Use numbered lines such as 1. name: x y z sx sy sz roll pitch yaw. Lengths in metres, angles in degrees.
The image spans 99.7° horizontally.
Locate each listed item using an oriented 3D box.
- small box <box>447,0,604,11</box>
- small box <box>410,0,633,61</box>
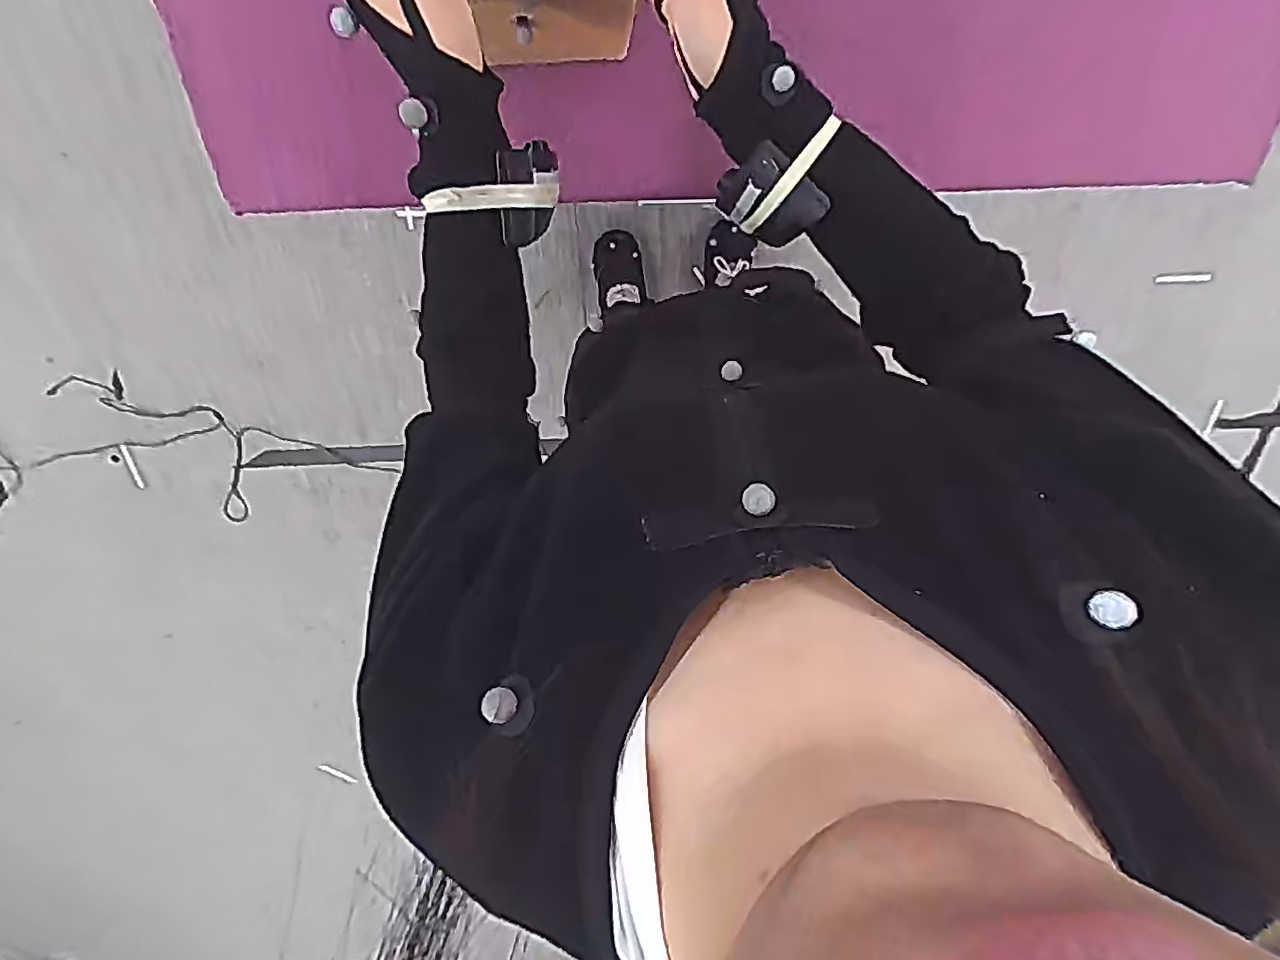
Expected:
1. small box: -0.078 -0.412 0.308 0.168 0.176 0.179 -6 116 -1
2. small box: -0.100 -0.478 0.458 0.179 0.176 0.168 -4 115 -2
